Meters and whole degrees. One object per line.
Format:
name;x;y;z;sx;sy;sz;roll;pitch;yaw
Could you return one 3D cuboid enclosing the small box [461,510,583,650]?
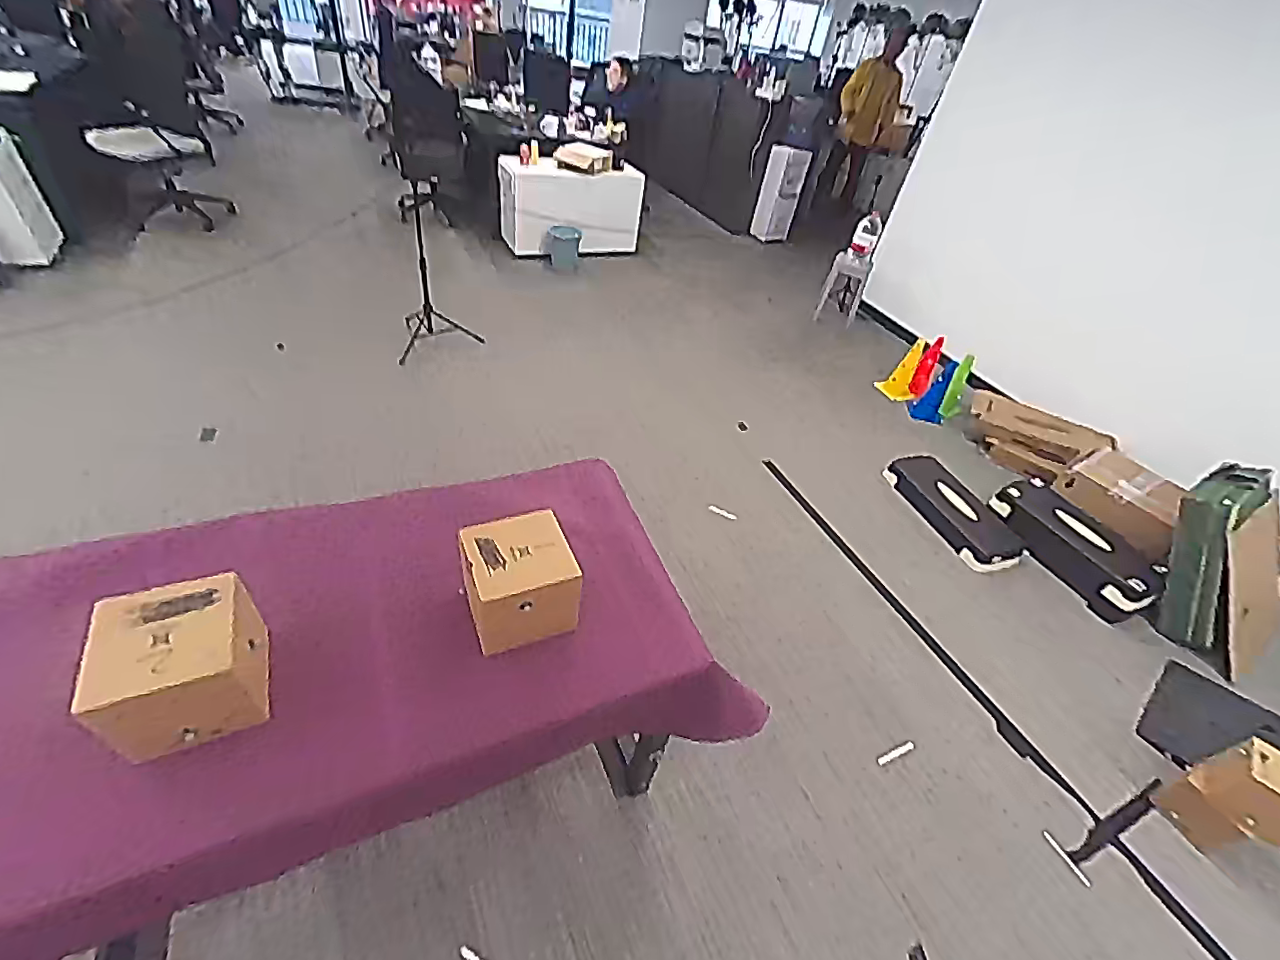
small box;-0.217;0.184;0.990;0.179;0.176;0.168;-12;46;-24
